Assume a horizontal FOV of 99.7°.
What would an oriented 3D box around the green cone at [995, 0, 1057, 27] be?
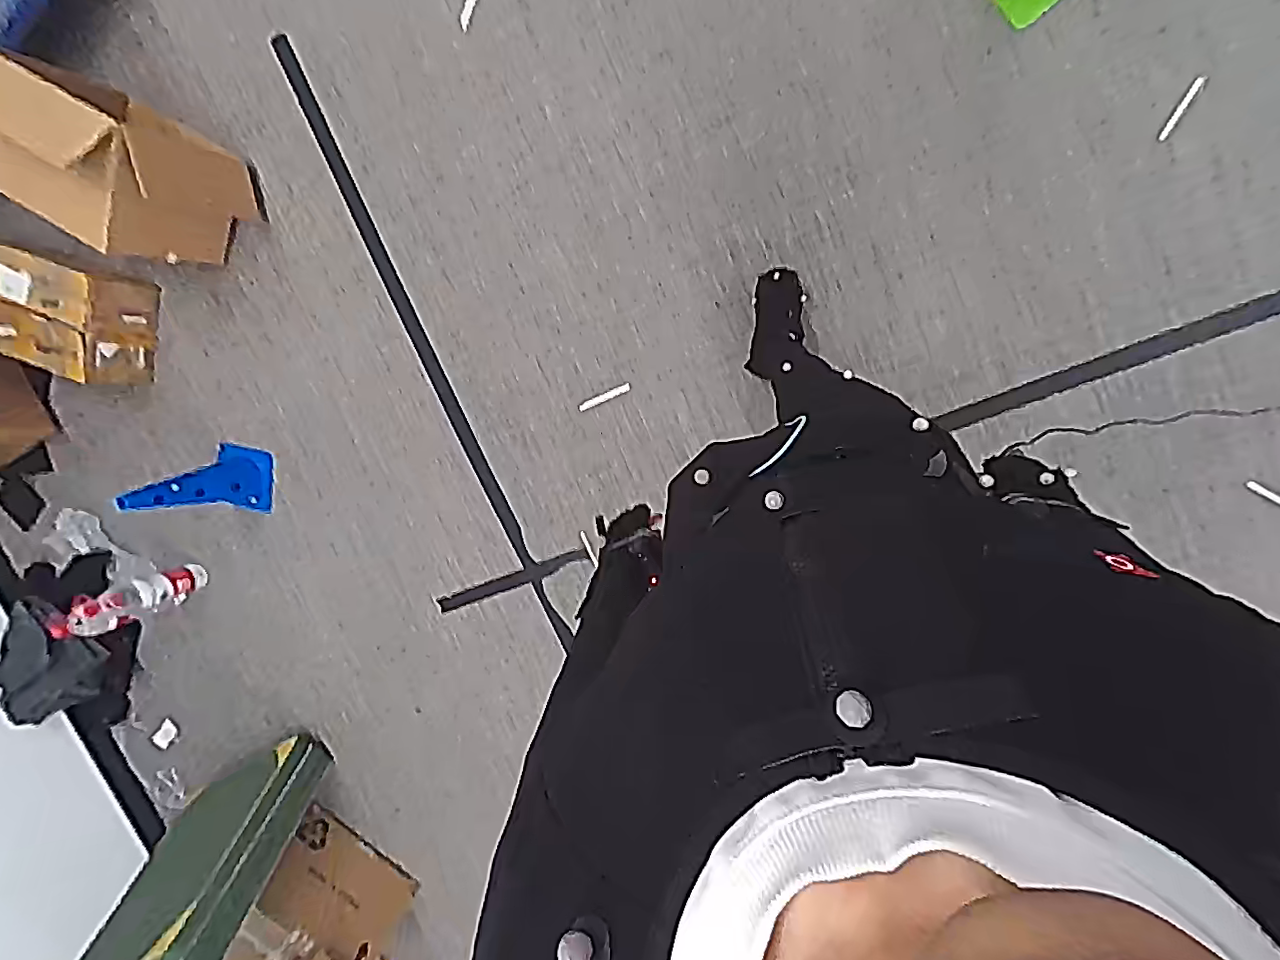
[{"bbox_3d":[0.768,-1.030,0.925,0.202,0.368,0.200,-39,92,14],"label":"green cone"}]
